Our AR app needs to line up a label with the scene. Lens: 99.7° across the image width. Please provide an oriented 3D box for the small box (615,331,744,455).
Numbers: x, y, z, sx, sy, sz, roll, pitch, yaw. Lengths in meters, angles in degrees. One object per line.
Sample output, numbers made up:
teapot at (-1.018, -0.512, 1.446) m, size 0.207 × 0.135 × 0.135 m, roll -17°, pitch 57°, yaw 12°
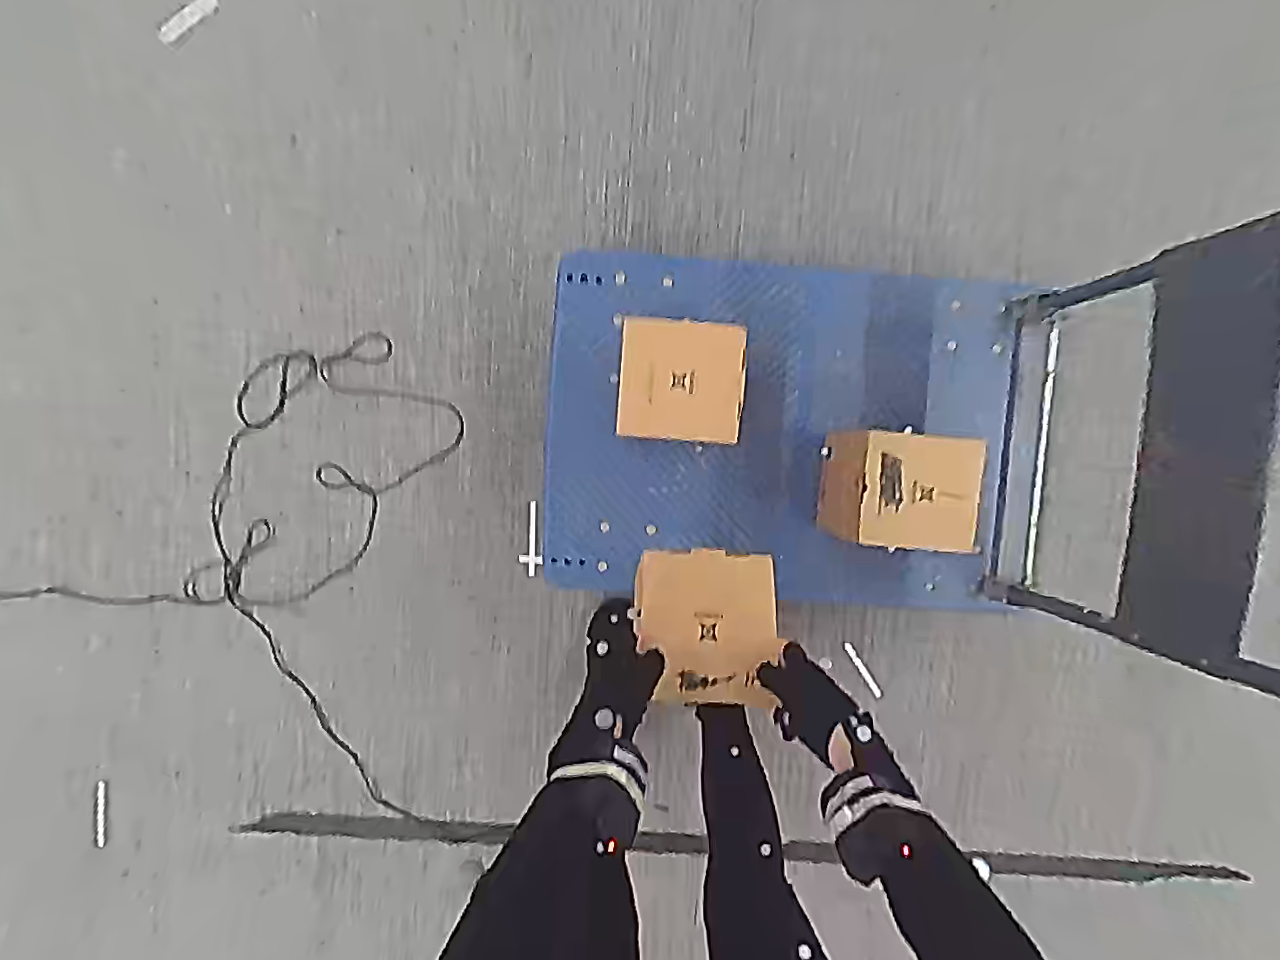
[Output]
small box at (0.054, -0.128, 0.851) m, size 0.179 × 0.176 × 0.168 m, roll 4°, pitch 92°, yaw -1°

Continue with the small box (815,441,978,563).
small box at (0.397, 0.030, 0.867) m, size 0.179 × 0.176 × 0.168 m, roll 6°, pitch 92°, yaw -3°

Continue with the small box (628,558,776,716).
small box at (0.072, 0.212, 0.717) m, size 0.168 × 0.176 × 0.179 m, roll 3°, pitch 69°, yaw -2°
